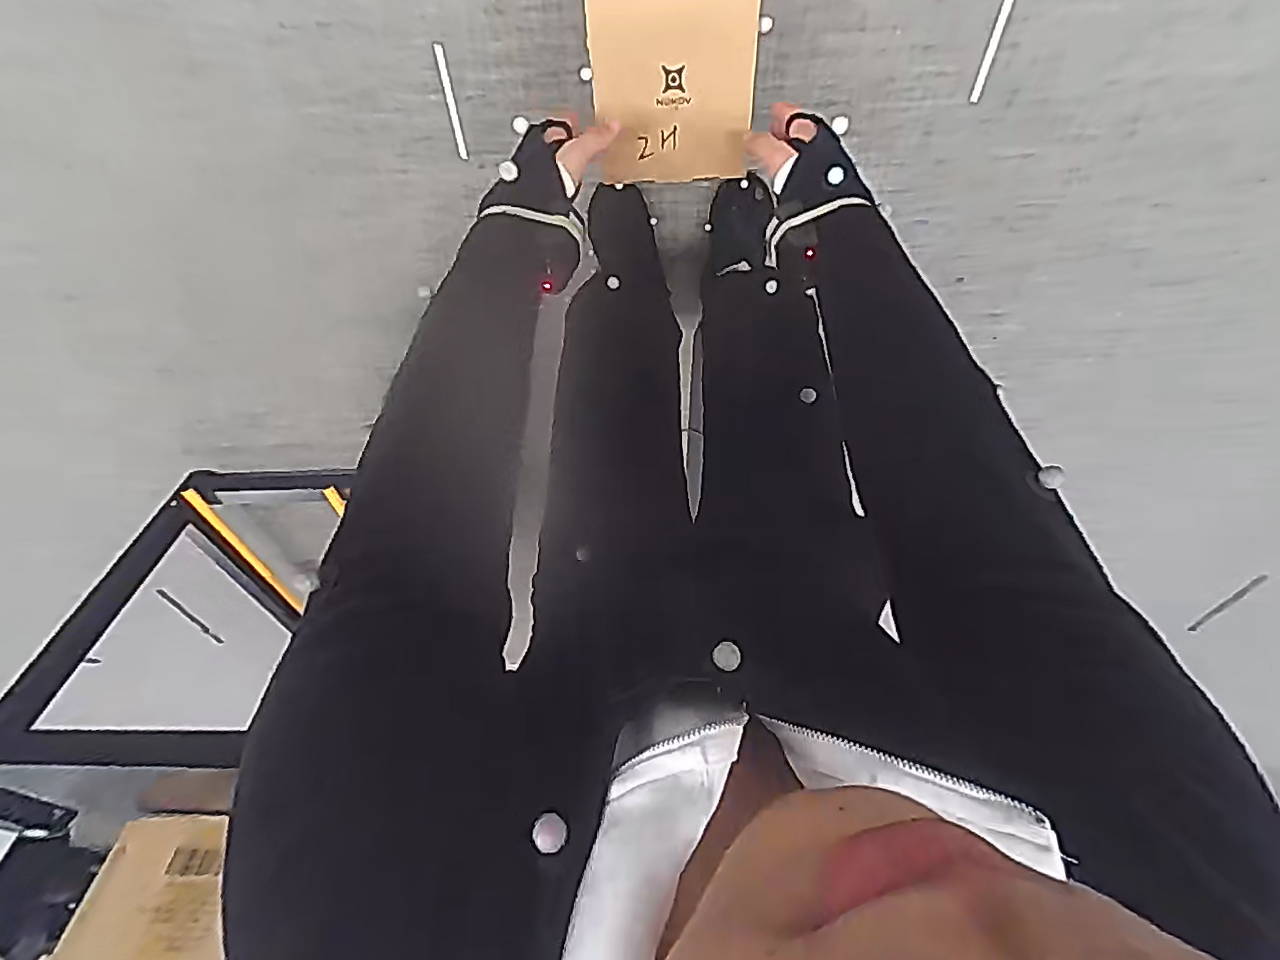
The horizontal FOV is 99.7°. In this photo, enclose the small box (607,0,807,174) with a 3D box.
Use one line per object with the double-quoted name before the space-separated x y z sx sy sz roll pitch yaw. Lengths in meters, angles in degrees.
"small box" 0.056 -0.420 0.522 0.168 0.176 0.179 -1 137 3
